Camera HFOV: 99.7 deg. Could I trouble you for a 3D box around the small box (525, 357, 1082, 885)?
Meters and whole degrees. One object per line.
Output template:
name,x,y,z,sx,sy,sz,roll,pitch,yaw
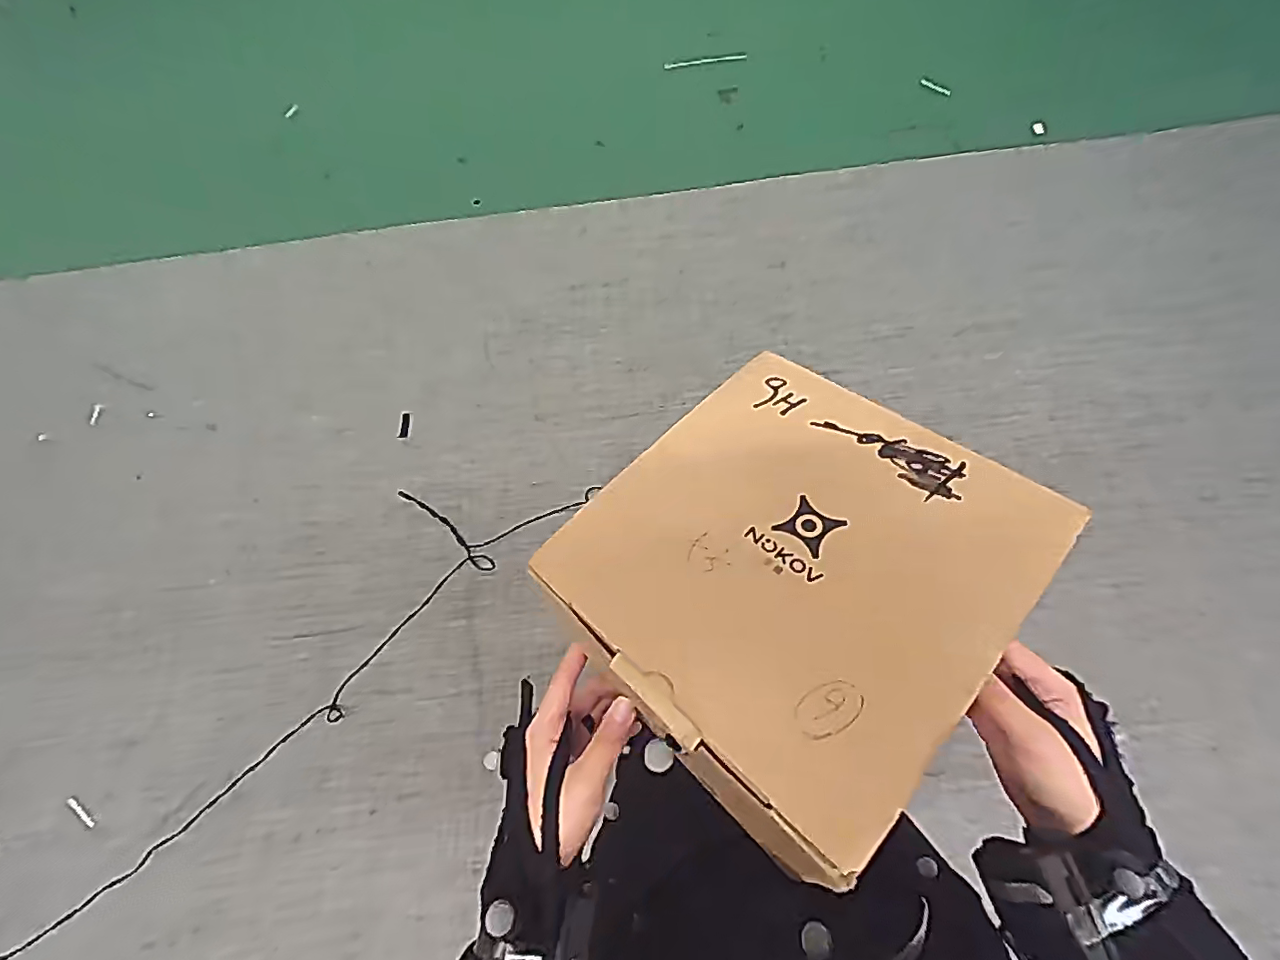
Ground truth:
small box,0.075,0.074,0.293,0.179,0.176,0.168,-42,58,-18
